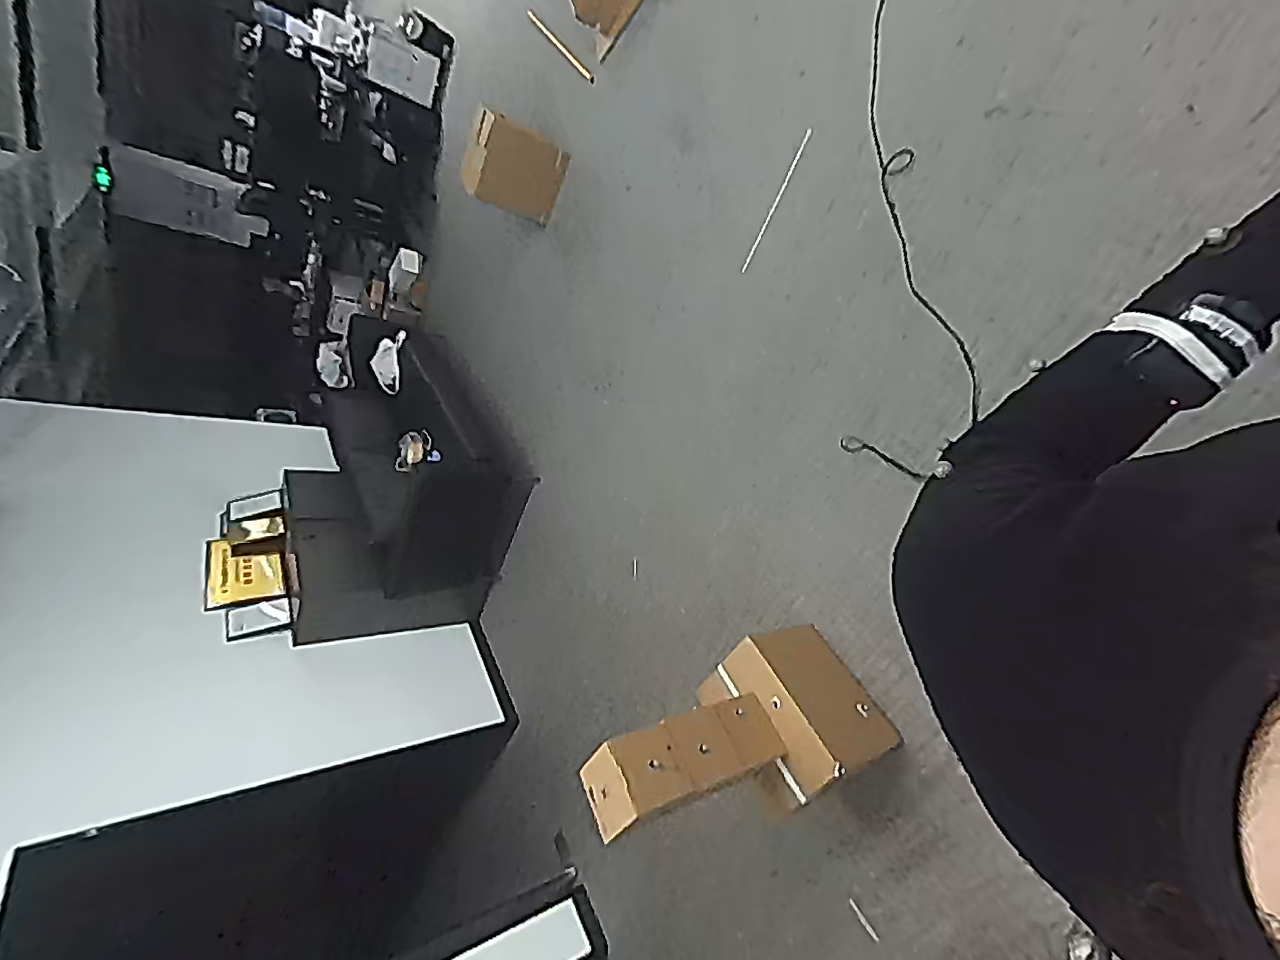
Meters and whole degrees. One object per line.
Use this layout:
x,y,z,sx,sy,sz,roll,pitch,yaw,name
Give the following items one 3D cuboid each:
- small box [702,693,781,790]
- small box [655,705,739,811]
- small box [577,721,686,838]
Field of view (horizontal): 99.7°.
0.243,0.700,1.469,0.168,0.176,0.179,-58,47,34,small box
0.114,0.693,1.367,0.168,0.176,0.179,-58,48,35,small box
-0.016,0.694,1.266,0.179,0.176,0.168,-58,47,33,small box
